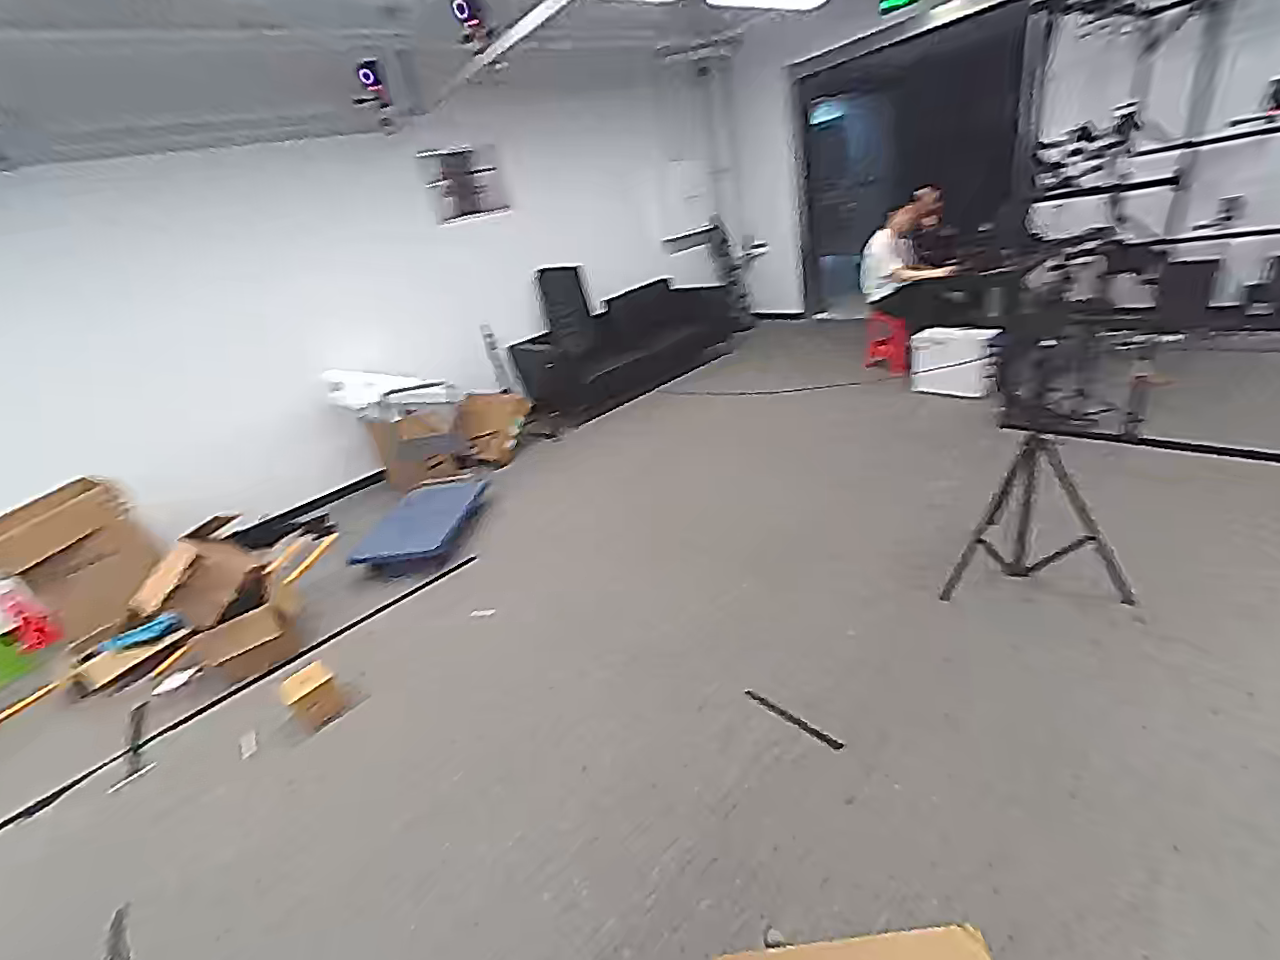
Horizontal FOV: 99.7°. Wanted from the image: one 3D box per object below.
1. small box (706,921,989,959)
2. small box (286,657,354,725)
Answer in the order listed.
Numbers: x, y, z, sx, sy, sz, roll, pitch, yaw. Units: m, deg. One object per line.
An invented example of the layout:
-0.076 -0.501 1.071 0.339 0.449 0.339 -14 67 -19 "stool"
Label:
0.146 0.406 0.336 0.179 0.176 0.168 -10 41 2 "small box"
-1.322 0.878 2.239 0.179 0.176 0.168 12 36 42 "small box"
